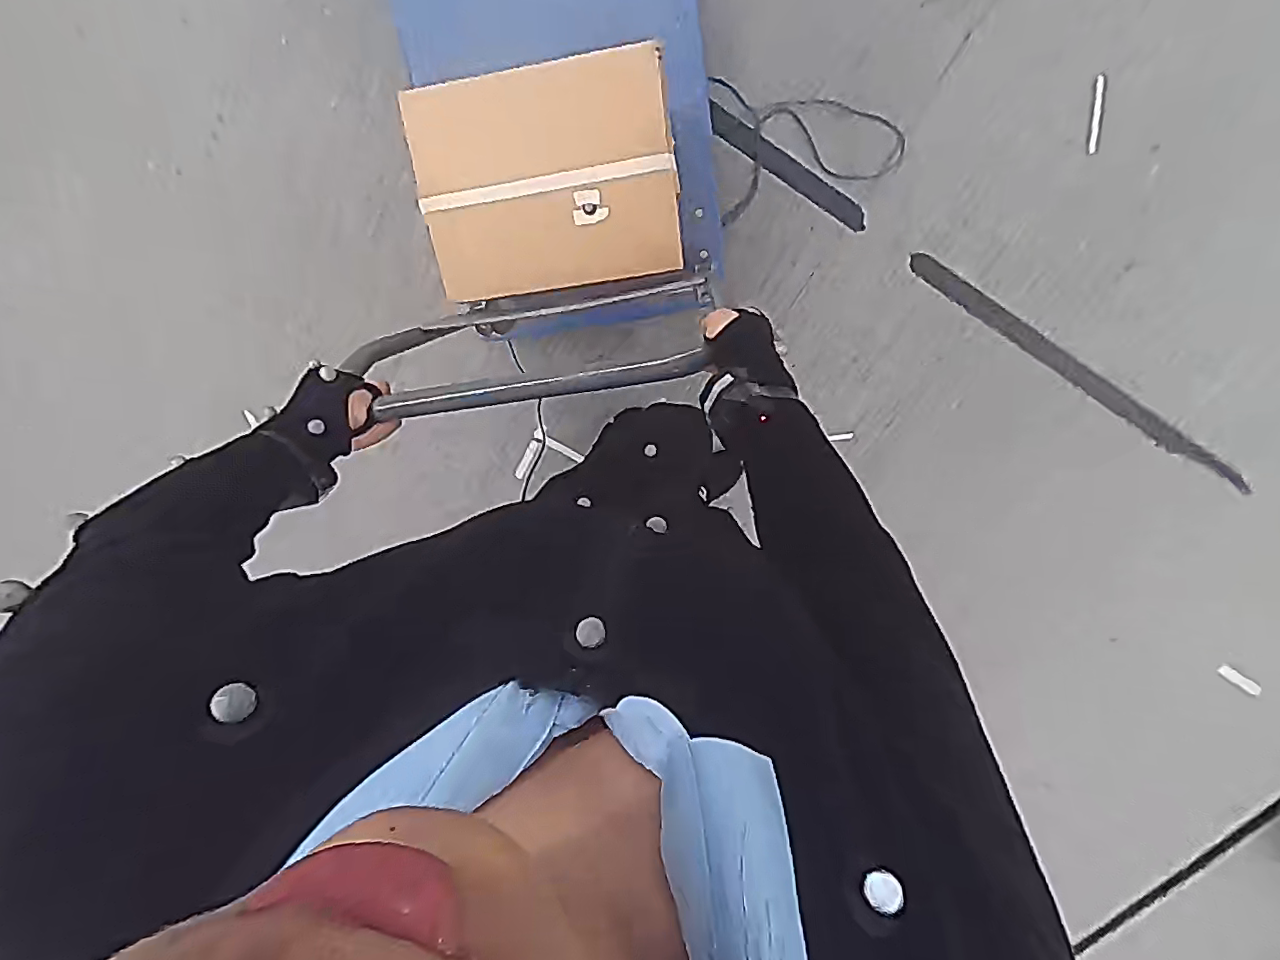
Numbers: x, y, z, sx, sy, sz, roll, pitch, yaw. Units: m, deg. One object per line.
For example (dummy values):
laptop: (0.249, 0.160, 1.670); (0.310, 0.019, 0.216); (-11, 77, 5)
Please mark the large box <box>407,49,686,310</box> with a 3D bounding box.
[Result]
large box: (-0.136, -0.510, 0.997); (0.408, 0.320, 0.320); (-7, 110, 6)
